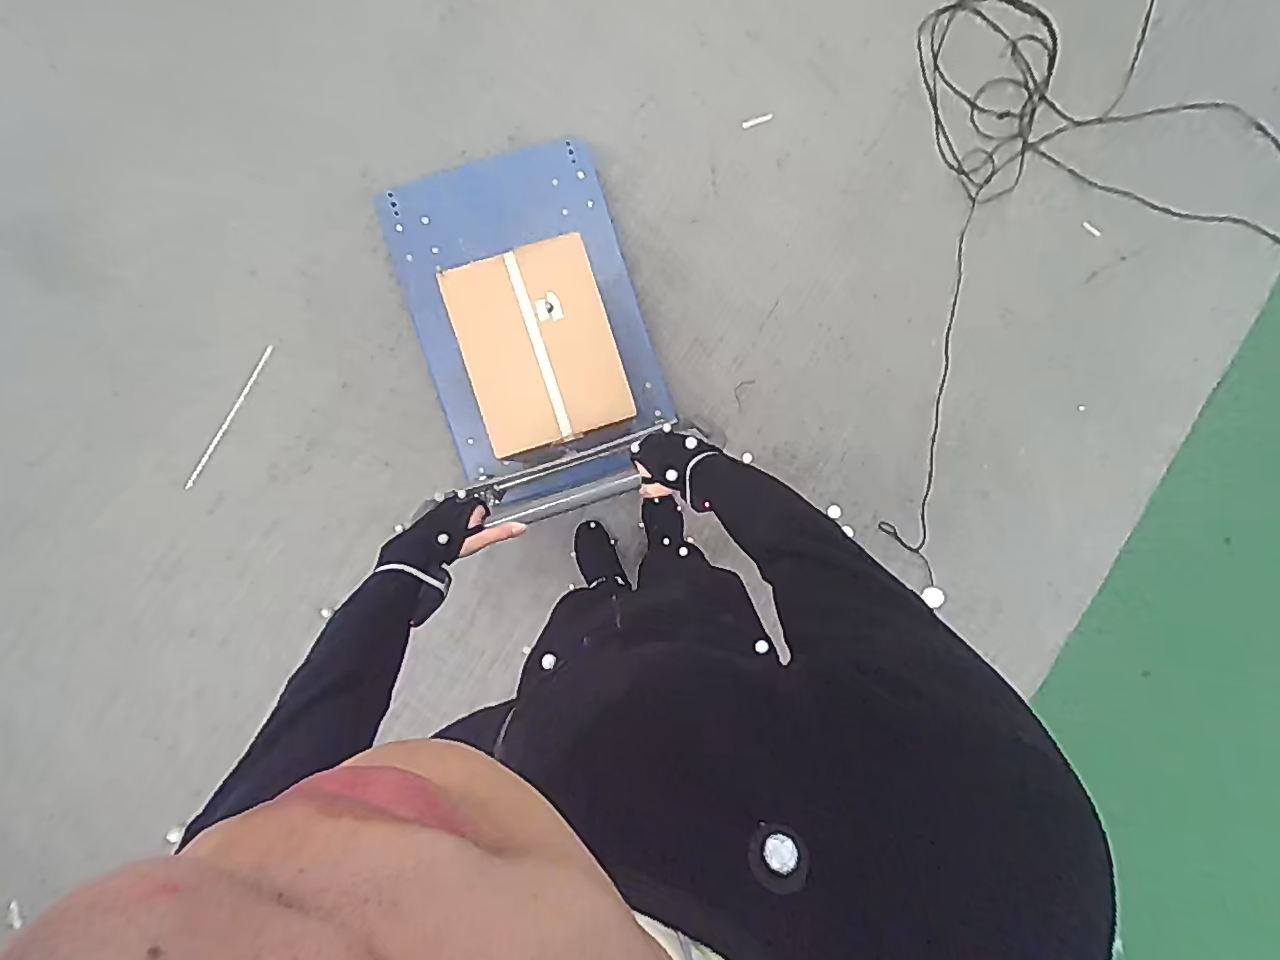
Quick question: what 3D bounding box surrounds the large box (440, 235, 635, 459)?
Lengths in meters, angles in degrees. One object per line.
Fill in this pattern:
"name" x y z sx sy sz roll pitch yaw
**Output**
"large box" -0.221 -0.288 1.292 0.320 0.320 0.408 -18 91 -3
